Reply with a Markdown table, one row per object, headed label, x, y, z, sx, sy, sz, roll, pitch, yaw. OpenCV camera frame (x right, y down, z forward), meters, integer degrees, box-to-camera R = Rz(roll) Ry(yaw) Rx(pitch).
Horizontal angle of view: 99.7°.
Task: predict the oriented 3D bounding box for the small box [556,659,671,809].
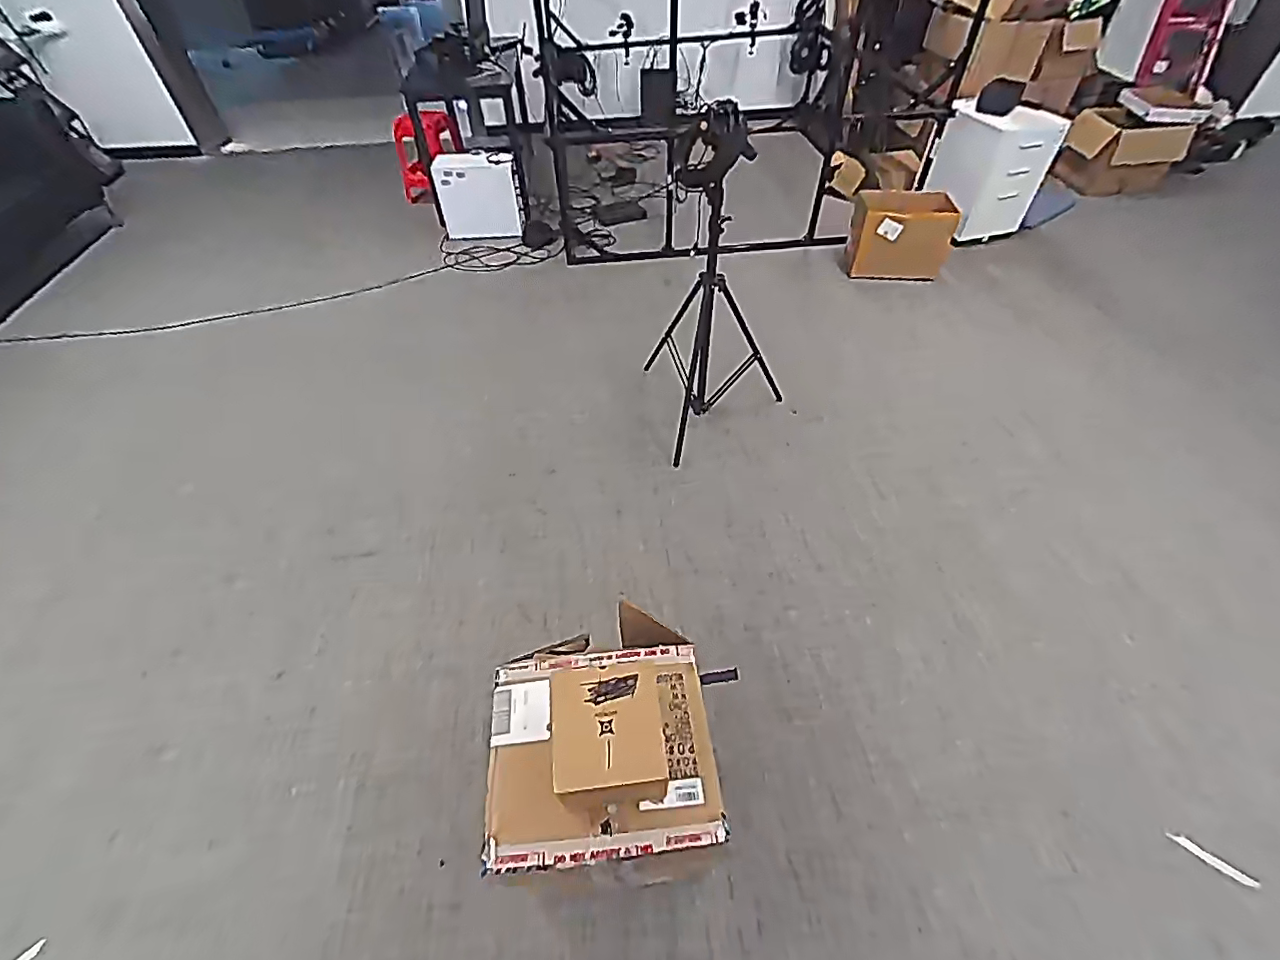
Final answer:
| label | x | y | z | sx | sy | sz | roll | pitch | yaw |
| --- | --- | --- | --- | --- | --- | --- | --- | --- | --- |
| small box | -0.045 | 0.413 | 0.876 | 0.168 | 0.176 | 0.179 | -6 | 52 | -4 |
